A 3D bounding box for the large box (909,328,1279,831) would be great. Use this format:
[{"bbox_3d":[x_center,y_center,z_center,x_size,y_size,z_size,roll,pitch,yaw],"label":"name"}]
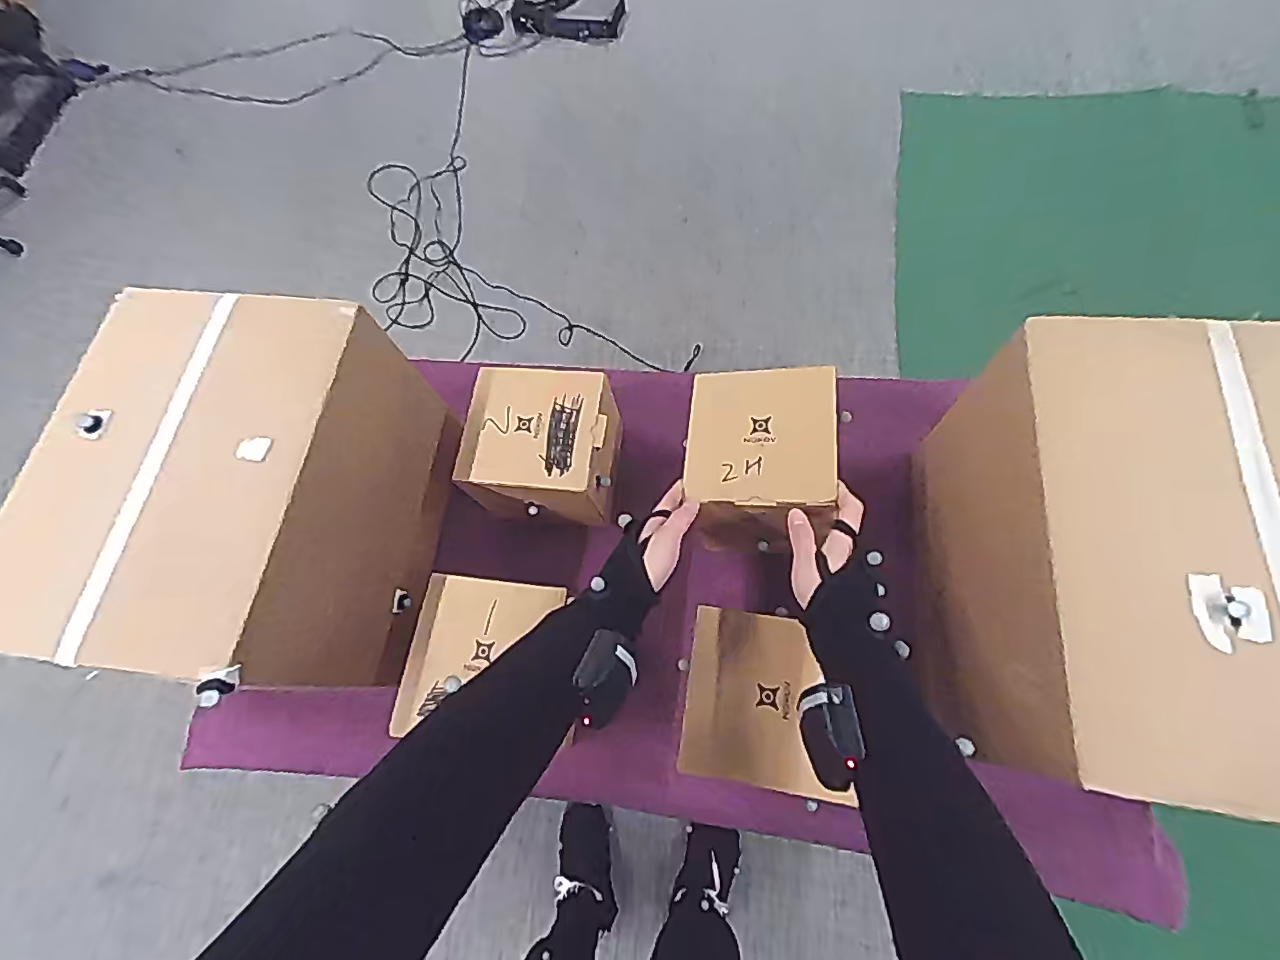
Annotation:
[{"bbox_3d":[0.499,0.104,0.563,0.320,0.320,0.408,5,70,9],"label":"large box"}]
